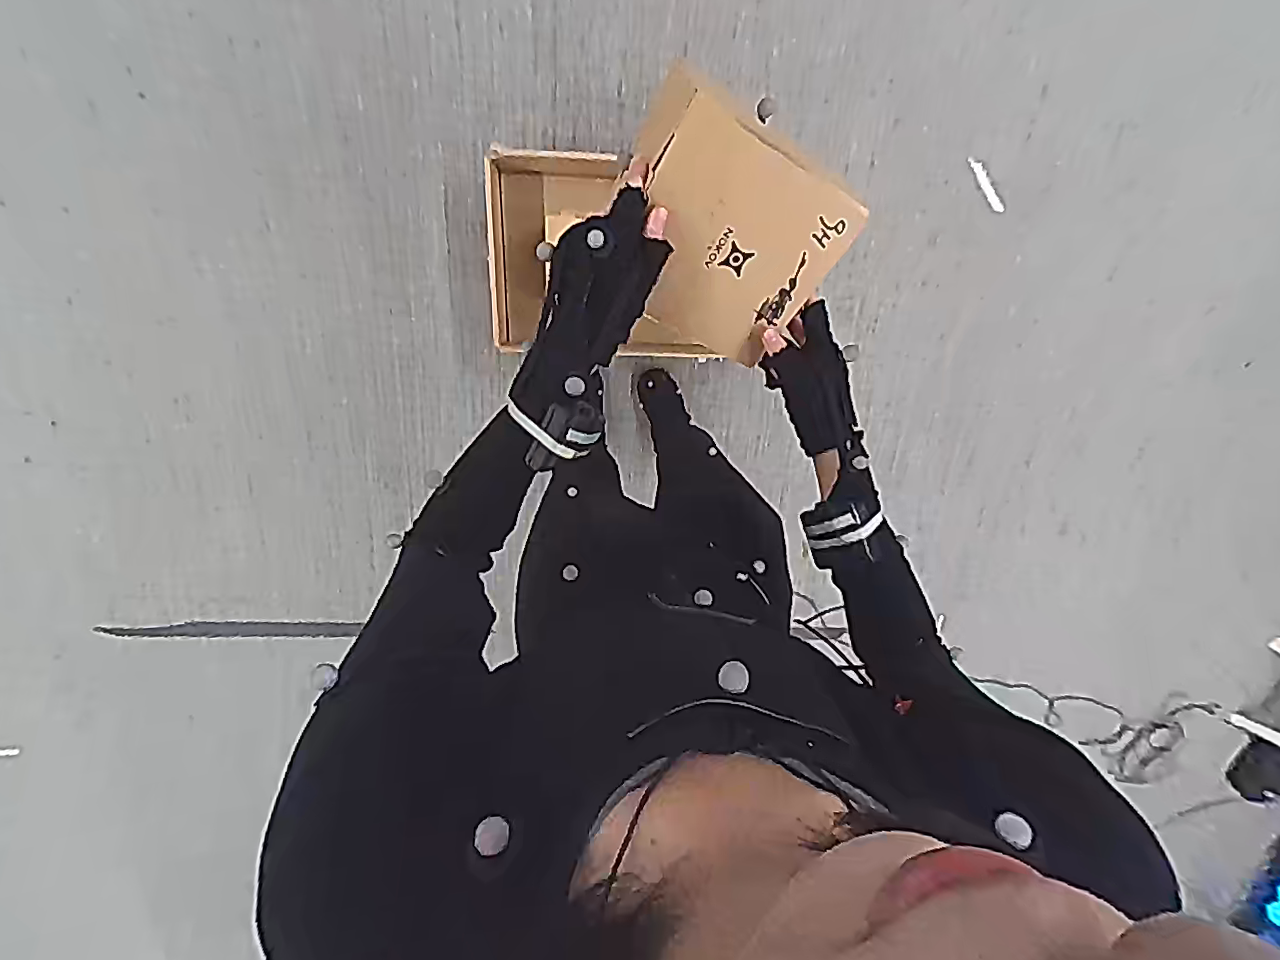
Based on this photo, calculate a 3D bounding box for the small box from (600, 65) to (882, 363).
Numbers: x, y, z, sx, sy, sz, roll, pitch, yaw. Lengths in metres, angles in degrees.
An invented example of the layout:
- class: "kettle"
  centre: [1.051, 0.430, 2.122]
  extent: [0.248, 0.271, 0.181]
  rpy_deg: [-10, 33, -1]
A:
- class: "small box"
  centre: [0.075, -0.246, 0.500]
  extent: [0.179, 0.176, 0.168]
  rpy_deg: [20, 129, -21]
